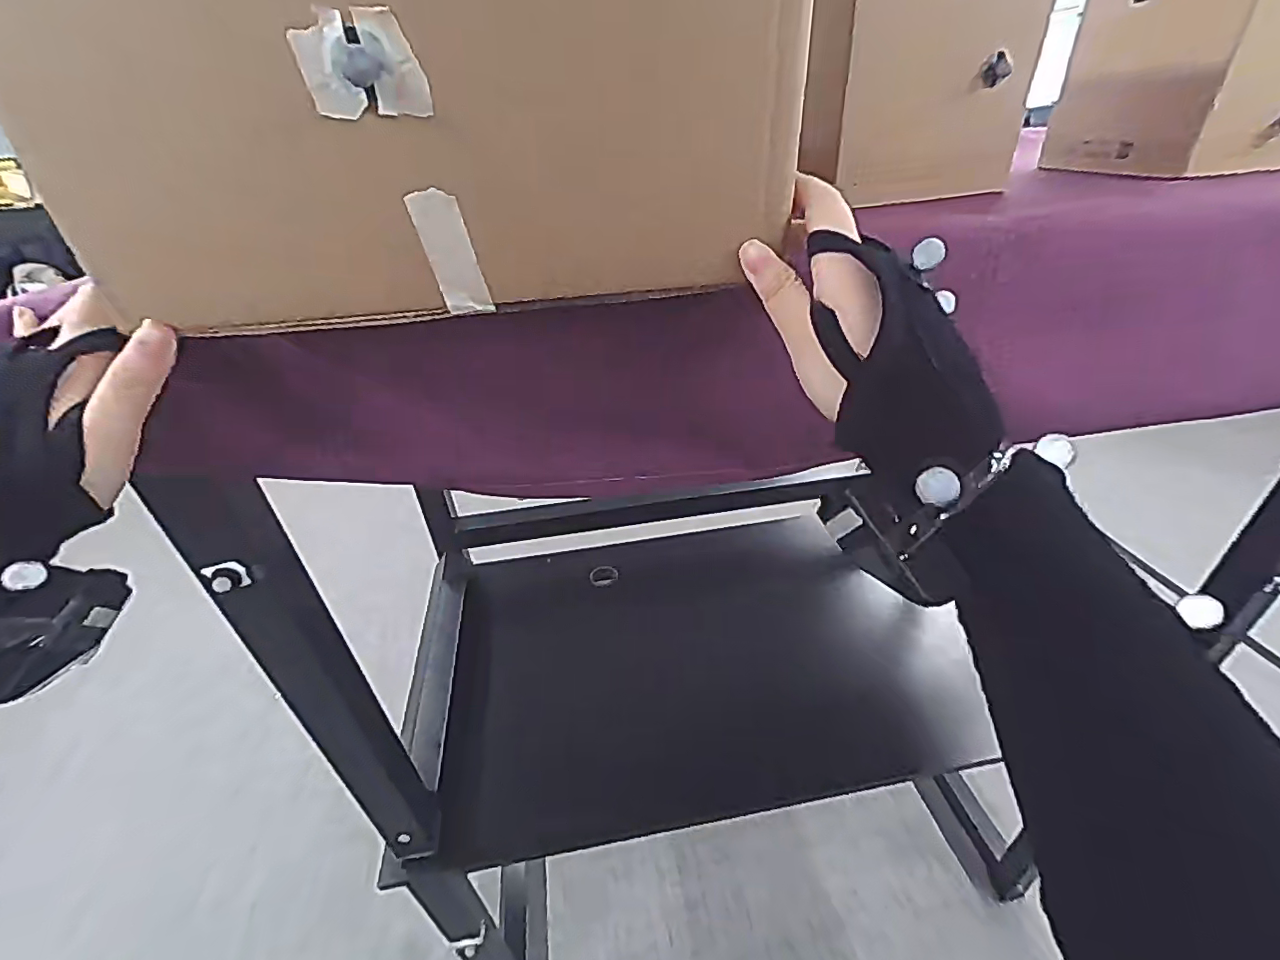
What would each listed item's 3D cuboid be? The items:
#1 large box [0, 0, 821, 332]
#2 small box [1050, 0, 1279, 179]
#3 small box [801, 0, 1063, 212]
[{"bbox_3d":[-0.107,-0.312,0.339,0.320,0.320,0.408,-6,33,-5],"label":"large box"},{"bbox_3d":[0.538,-0.384,0.499,0.179,0.176,0.168,-8,33,-6],"label":"small box"},{"bbox_3d":[0.217,-0.347,0.480,0.179,0.176,0.168,-12,34,-11],"label":"small box"}]
